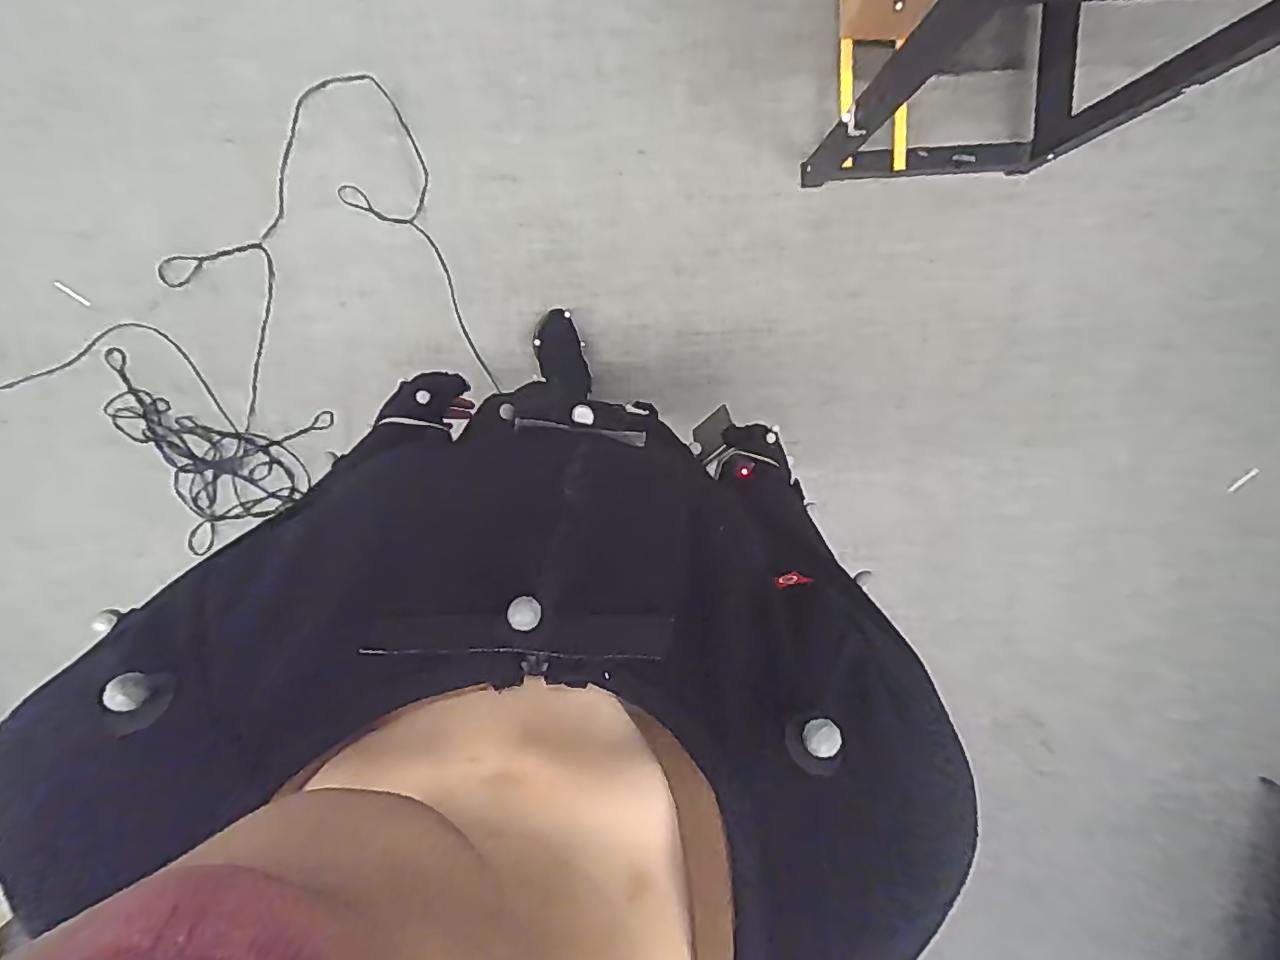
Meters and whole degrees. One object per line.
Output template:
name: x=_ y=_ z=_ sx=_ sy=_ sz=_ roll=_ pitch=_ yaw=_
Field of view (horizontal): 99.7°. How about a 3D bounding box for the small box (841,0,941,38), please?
small box: x=0.529 y=-1.046 z=1.107 sx=0.179 sy=0.176 sz=0.168 roll=0 pitch=101 yaw=-1
